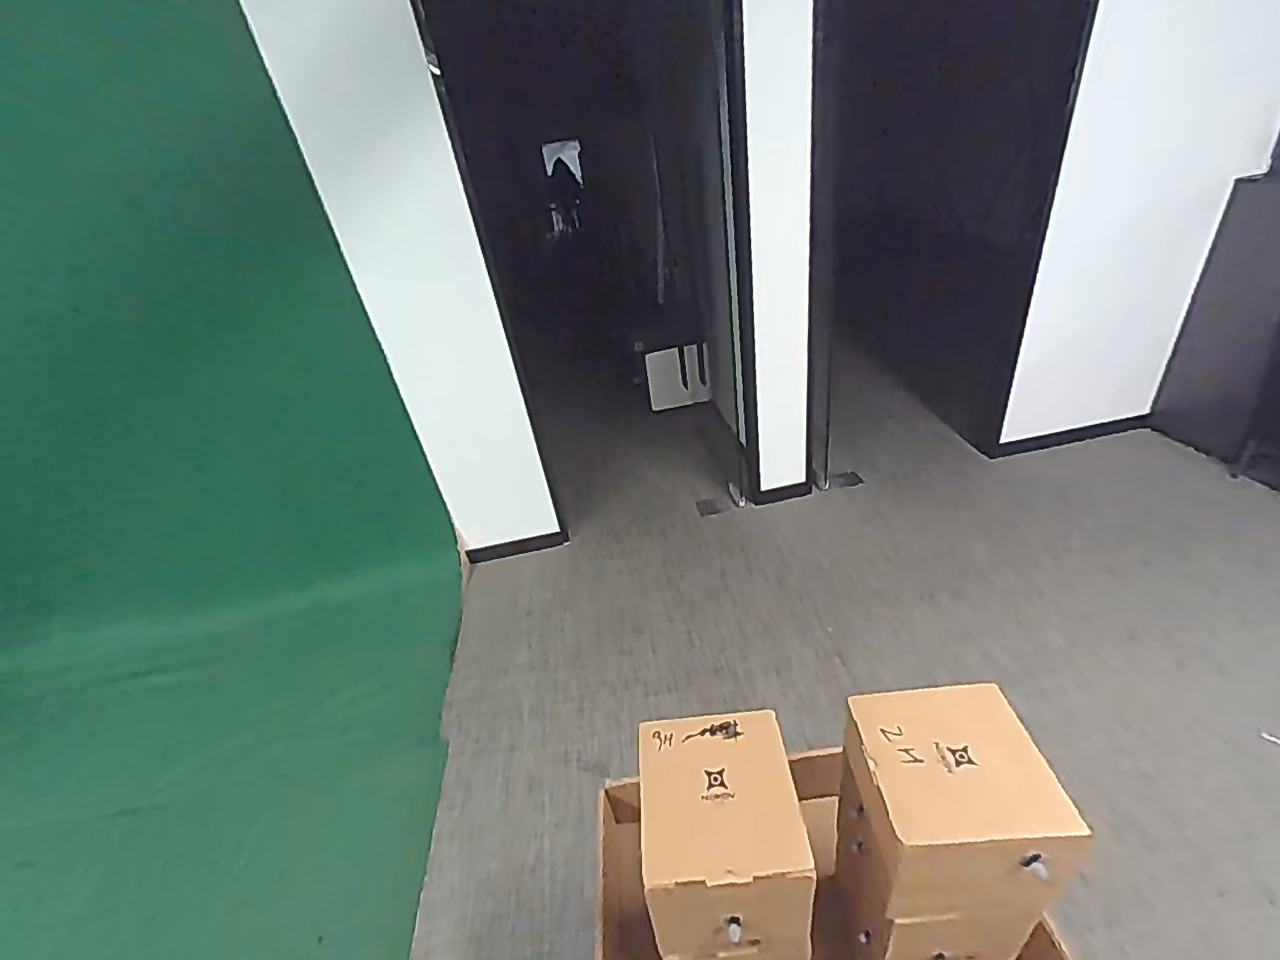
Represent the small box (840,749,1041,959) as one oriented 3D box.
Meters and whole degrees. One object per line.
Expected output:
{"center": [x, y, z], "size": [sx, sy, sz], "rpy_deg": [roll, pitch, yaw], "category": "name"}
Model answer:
{"center": [0.369, 0.488, 0.708], "size": [0.168, 0.176, 0.179], "rpy_deg": [-9, 33, 5], "category": "small box"}
